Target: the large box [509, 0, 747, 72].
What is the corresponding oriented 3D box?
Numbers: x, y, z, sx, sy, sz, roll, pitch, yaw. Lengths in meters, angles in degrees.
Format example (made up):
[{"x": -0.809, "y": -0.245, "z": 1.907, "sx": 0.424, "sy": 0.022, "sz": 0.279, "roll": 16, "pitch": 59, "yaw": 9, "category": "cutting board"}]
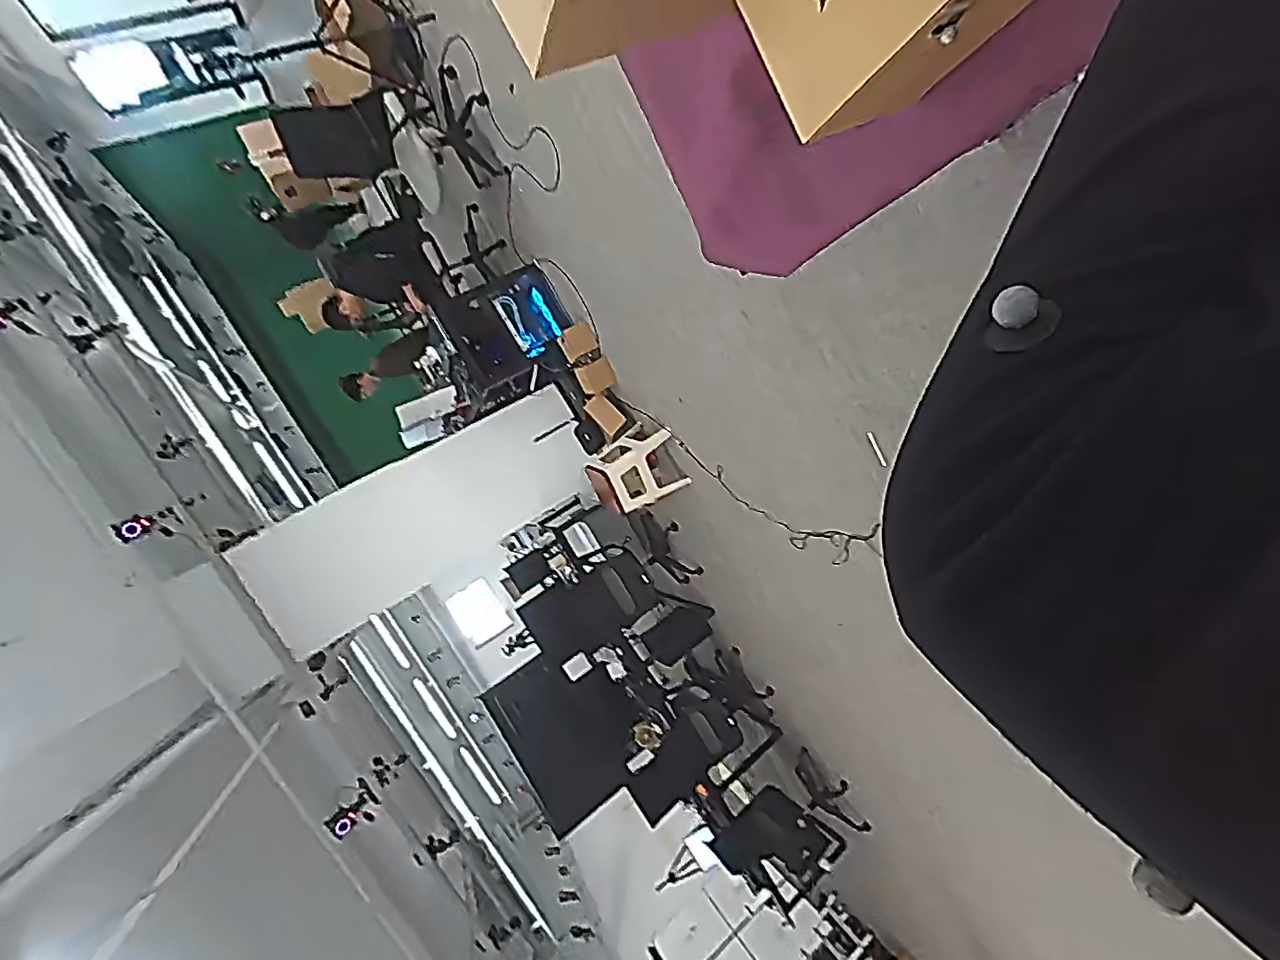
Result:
[{"x": -0.027, "y": -0.695, "z": 0.468, "sx": 0.408, "sy": 0.320, "sz": 0.320, "roll": 58, "pitch": 161, "yaw": -10, "category": "large box"}]
